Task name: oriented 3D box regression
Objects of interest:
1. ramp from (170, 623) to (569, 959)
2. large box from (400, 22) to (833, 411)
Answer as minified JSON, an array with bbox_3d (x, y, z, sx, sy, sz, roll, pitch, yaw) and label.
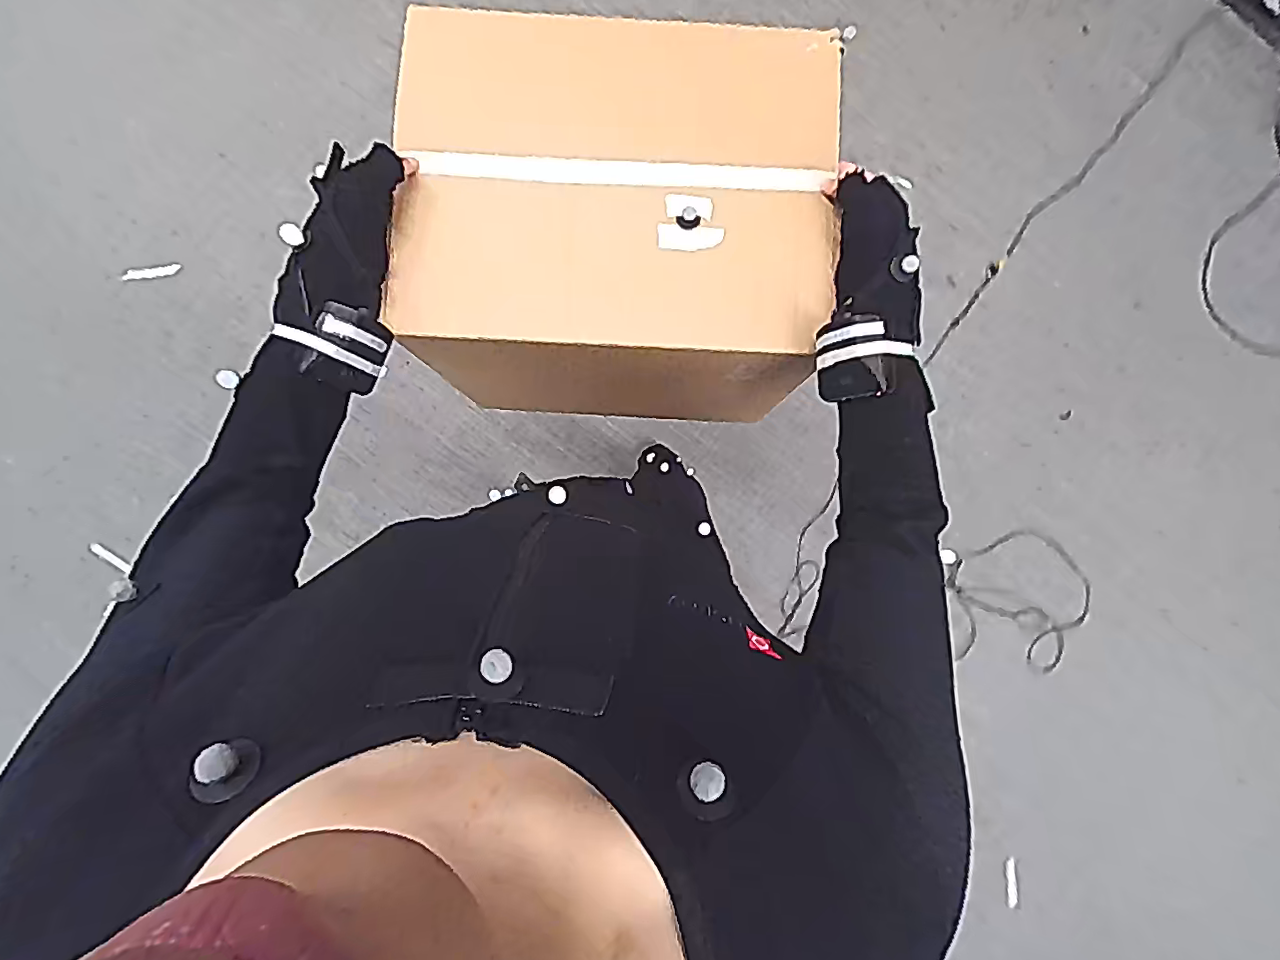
[{"bbox_3d":[-0.675,0.921,1.417,0.509,0.206,0.991,35,90,0],"label":"ramp"},{"bbox_3d":[-0.021,-0.270,0.655,0.408,0.320,0.320,2,85,-1],"label":"large box"}]
